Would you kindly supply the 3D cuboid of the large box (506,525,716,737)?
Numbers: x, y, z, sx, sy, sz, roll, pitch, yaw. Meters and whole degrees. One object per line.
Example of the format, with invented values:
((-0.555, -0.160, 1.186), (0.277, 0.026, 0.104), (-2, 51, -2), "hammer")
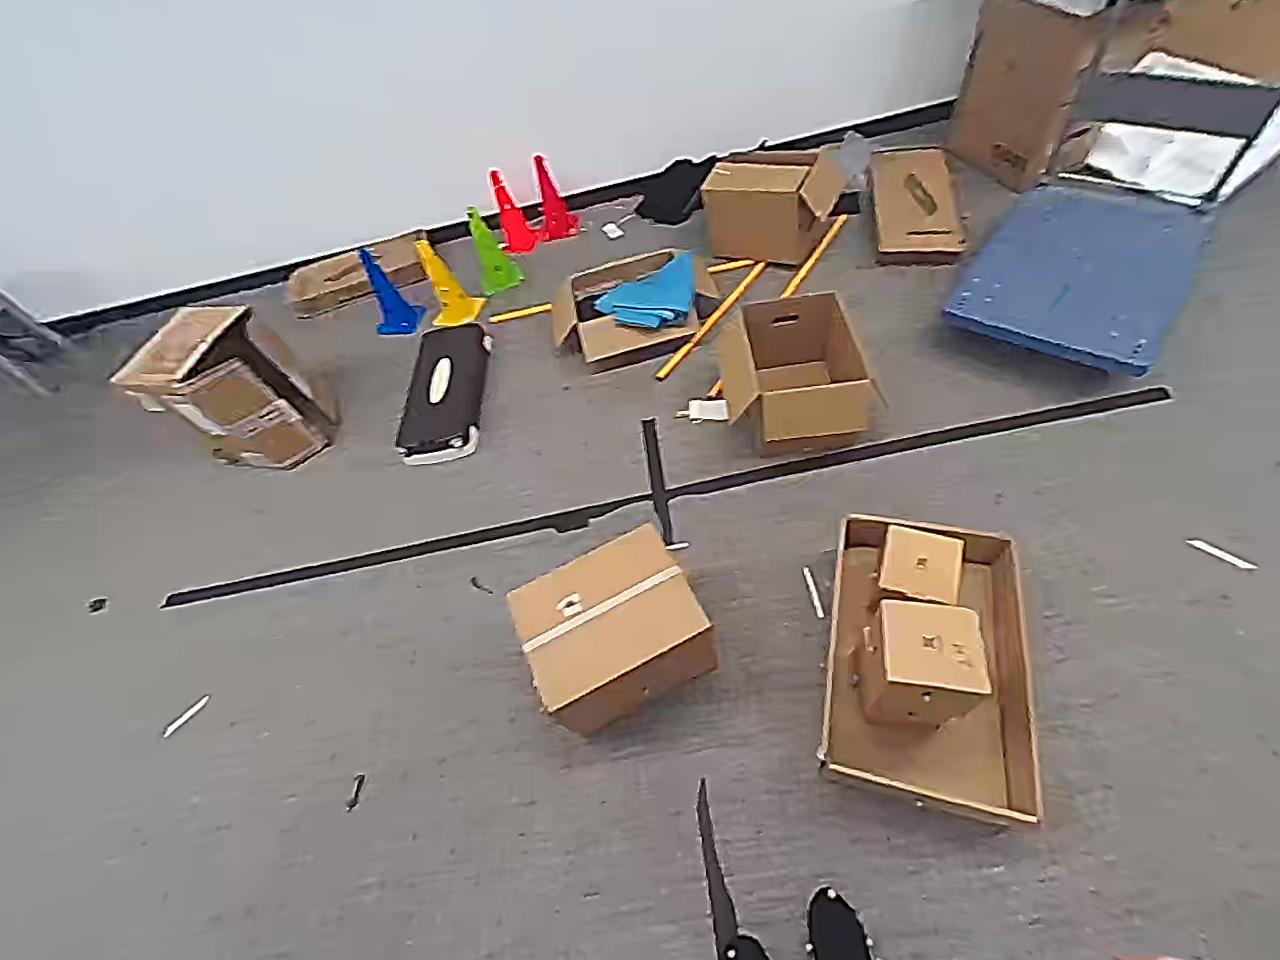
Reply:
((-0.061, 0.387, 1.373), (0.408, 0.320, 0.320), (-27, 54, -6), "large box")

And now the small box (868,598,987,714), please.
((0.561, 0.356, 1.085), (0.179, 0.176, 0.168), (4, 55, 14), "small box")
